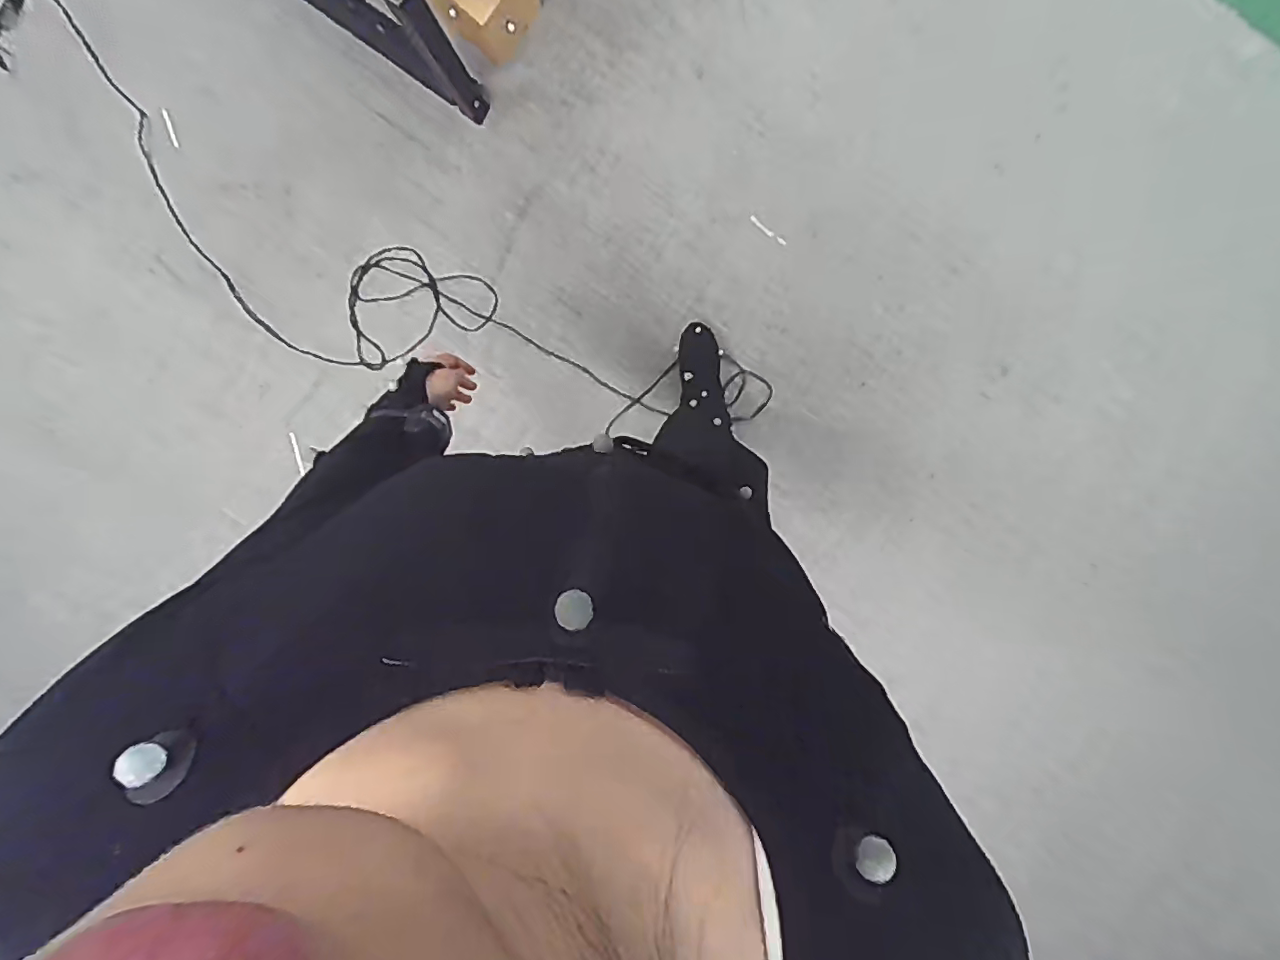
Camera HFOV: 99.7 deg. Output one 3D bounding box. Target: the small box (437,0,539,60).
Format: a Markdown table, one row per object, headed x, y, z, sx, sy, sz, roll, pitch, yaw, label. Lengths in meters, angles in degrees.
| x | y | z | sx | sy | sz | roll | pitch | yaw | label |
| --- | --- | --- | --- | --- | --- | --- | --- | --- | --- |
| -0.355 | -1.117 | 1.233 | 0.179 | 0.176 | 0.168 | 39 | 99 | -4 | small box |
